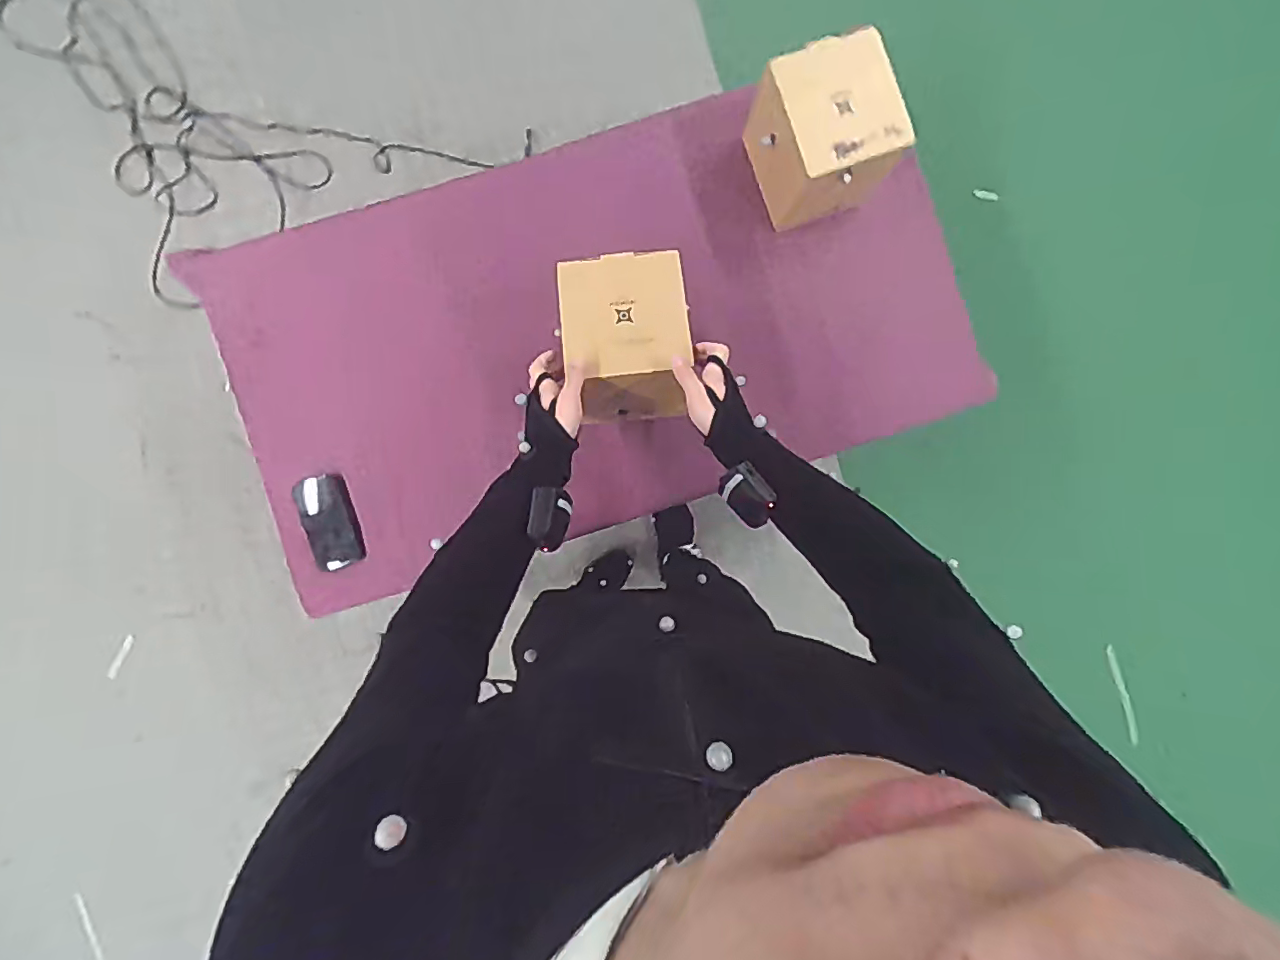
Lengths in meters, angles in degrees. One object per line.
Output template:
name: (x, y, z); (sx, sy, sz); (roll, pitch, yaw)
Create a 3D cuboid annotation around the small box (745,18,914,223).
small box: (0.276, -0.536, 0.831); (0.168, 0.176, 0.179); (-20, 90, -1)

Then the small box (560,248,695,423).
small box: (-0.018, -0.195, 0.763); (0.168, 0.176, 0.179); (-5, 76, 0)
